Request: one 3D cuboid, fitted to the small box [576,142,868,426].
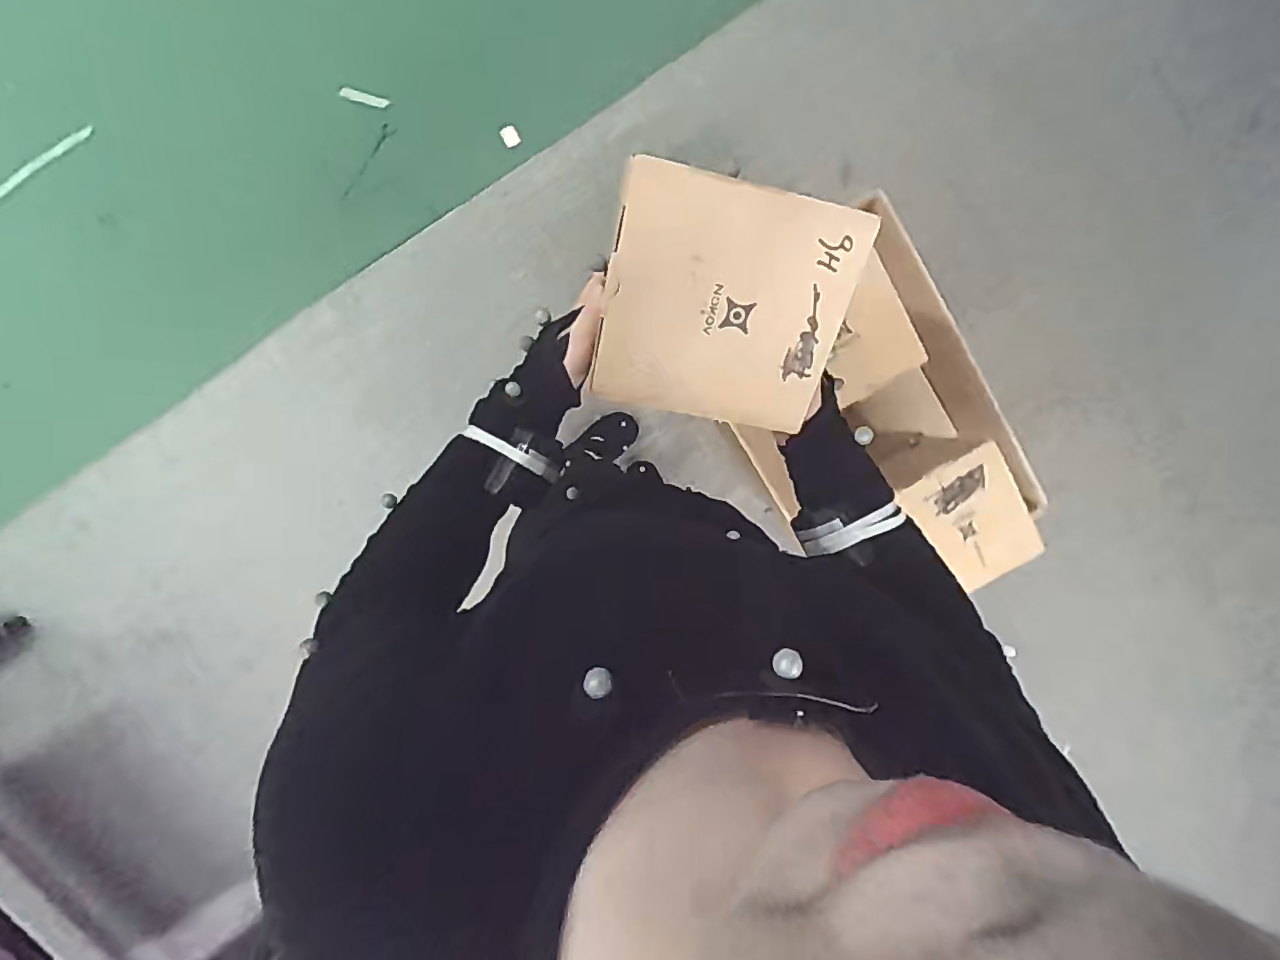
[{"bbox_3d":[0.049,-0.165,0.456,0.179,0.176,0.168,10,118,-8],"label":"small box"}]

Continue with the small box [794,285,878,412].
[{"bbox_3d":[0.262,-0.226,0.924,0.168,0.176,0.179,-30,97,2],"label":"small box"}]

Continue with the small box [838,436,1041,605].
[{"bbox_3d":[0.422,0.048,0.792,0.168,0.176,0.179,-29,97,1],"label":"small box"}]
